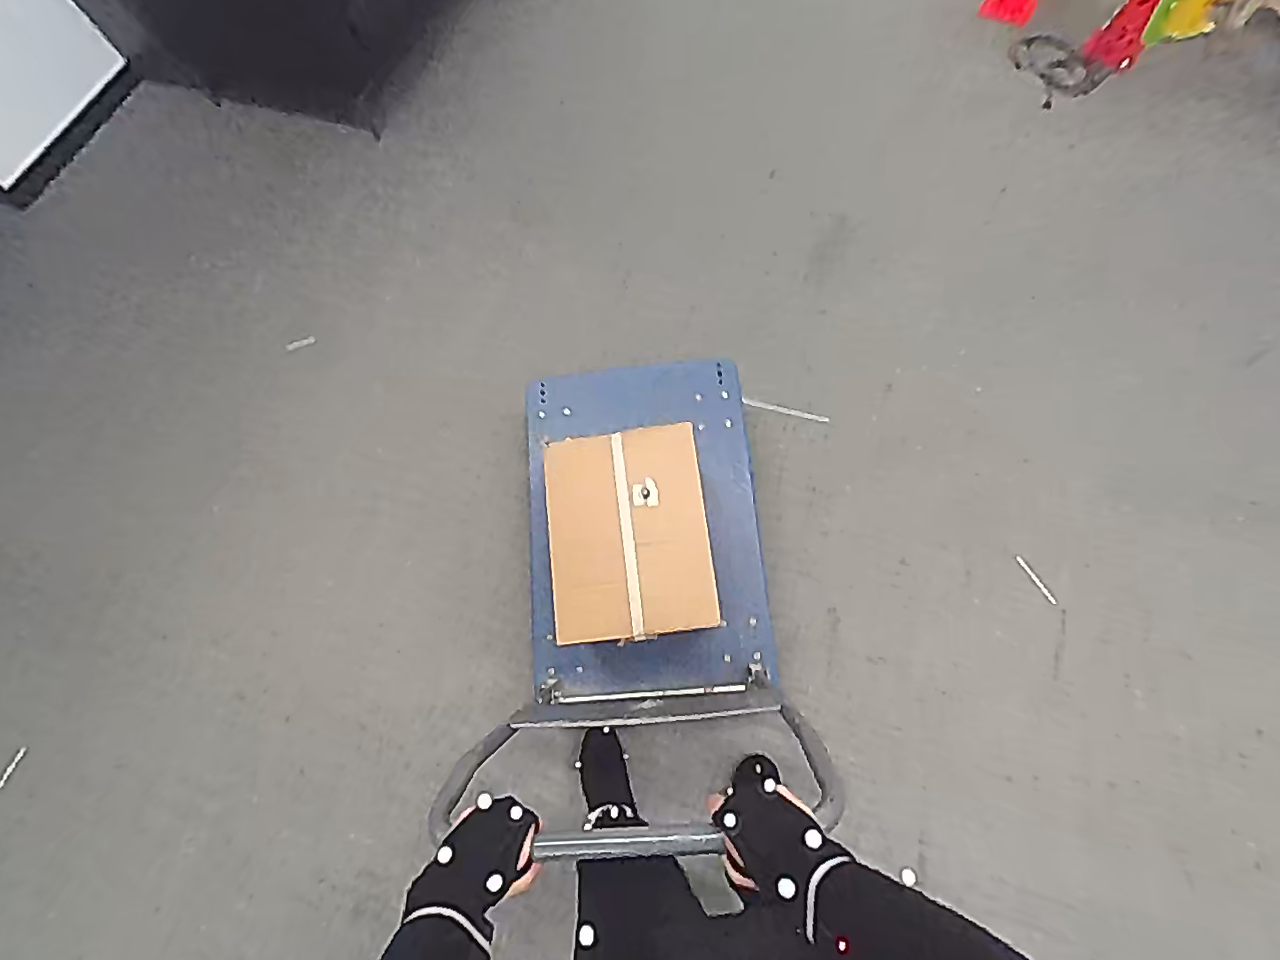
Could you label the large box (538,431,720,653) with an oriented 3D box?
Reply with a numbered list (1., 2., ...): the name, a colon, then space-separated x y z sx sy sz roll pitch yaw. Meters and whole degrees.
1. large box: -0.014 0.148 1.204 0.320 0.320 0.408 -9 76 3
